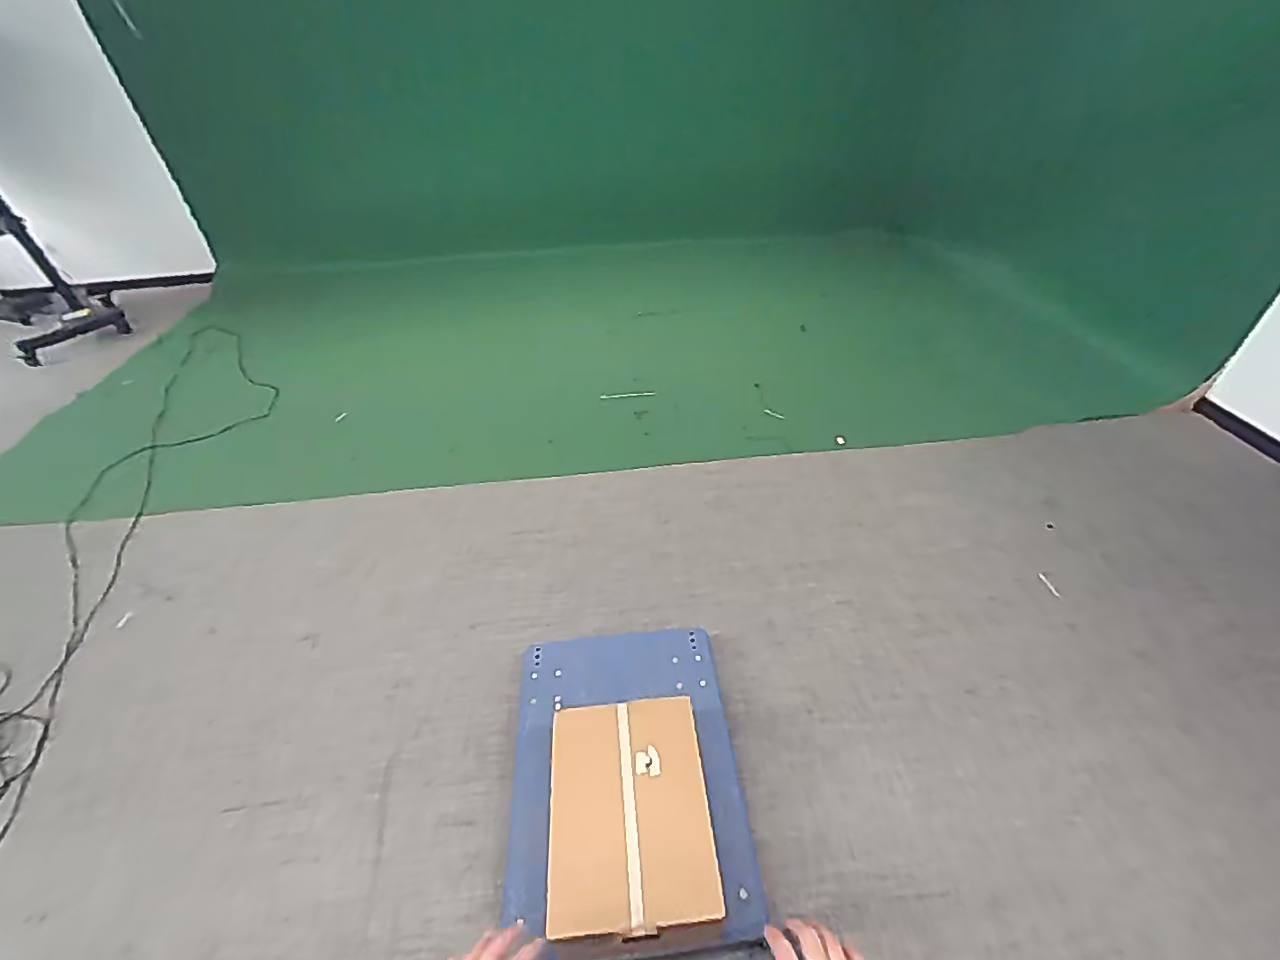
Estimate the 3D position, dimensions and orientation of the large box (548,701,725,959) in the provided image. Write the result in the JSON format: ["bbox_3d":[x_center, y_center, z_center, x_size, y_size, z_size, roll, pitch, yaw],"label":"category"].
[{"bbox_3d":[-0.017,0.757,1.169,0.320,0.320,0.408,-4,40,-3],"label":"large box"}]
